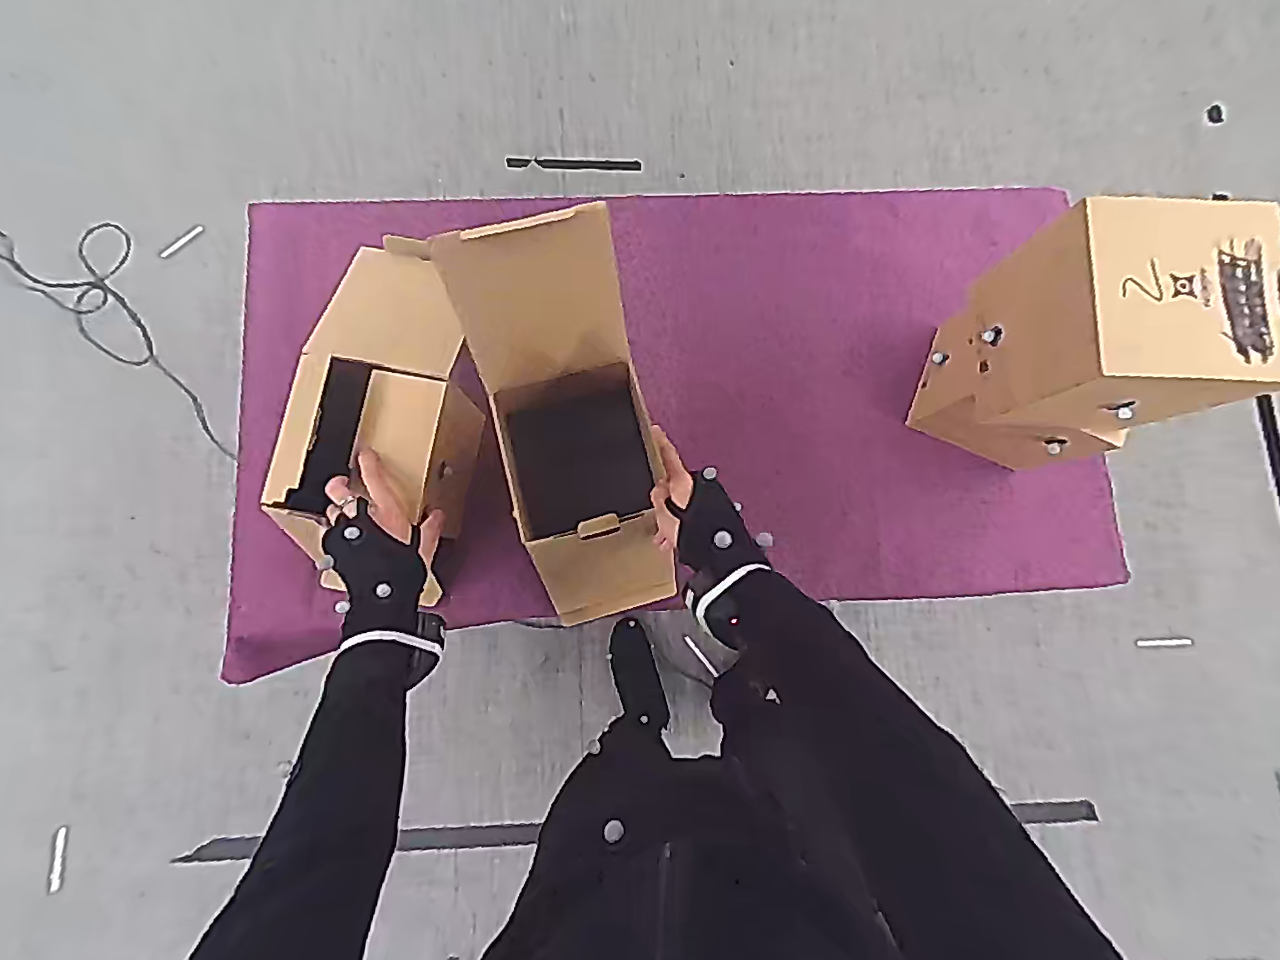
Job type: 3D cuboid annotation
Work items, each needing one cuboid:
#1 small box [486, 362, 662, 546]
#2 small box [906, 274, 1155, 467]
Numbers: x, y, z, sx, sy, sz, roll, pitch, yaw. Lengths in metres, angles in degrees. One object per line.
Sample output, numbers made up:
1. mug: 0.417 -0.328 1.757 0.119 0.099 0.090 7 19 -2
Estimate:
1. small box: -0.075 -0.021 0.672 0.168 0.176 0.179 -14 82 -5
2. small box: 0.491 -0.127 0.705 0.179 0.176 0.168 23 81 2
